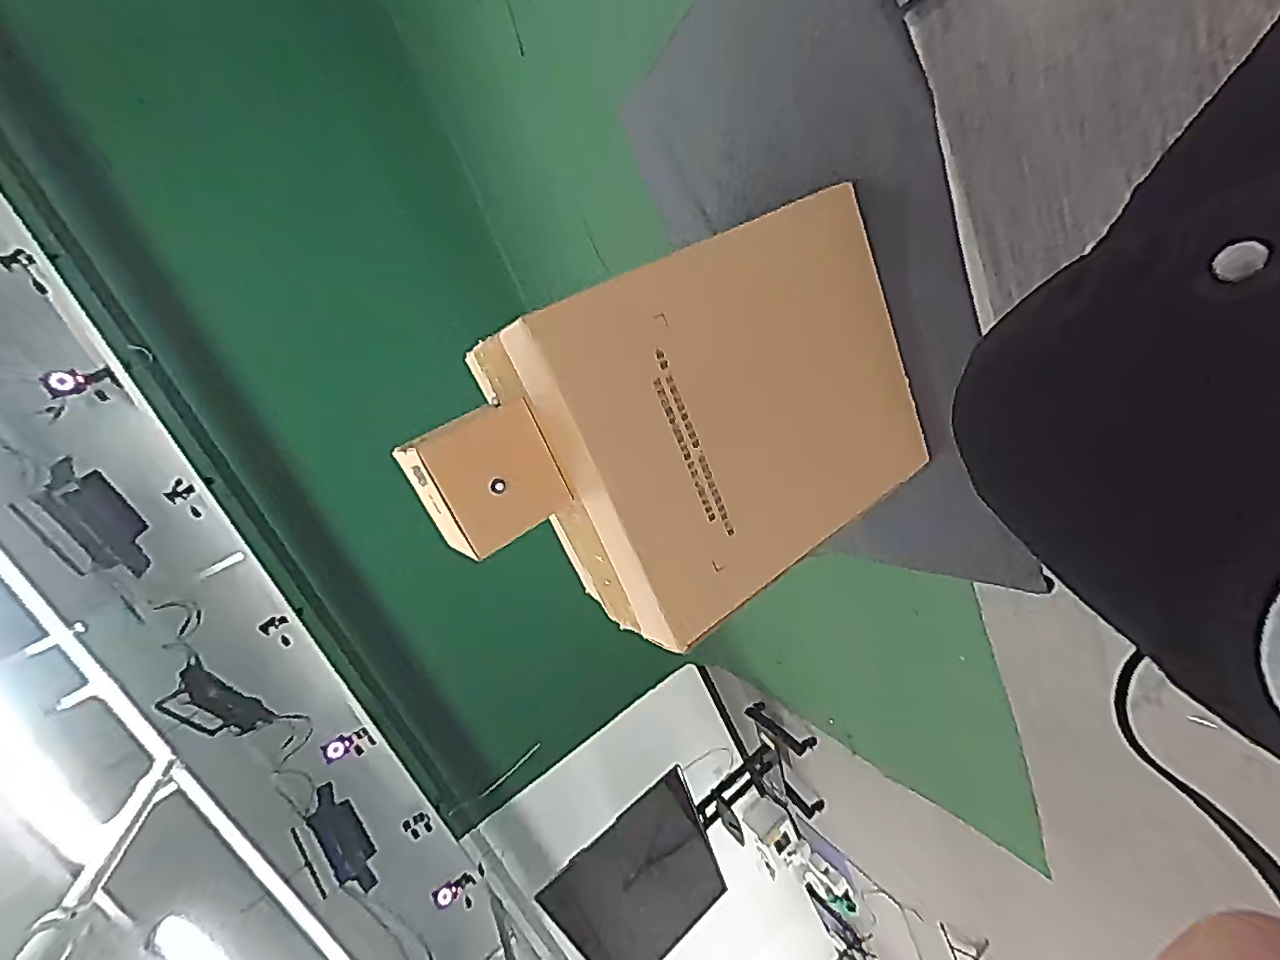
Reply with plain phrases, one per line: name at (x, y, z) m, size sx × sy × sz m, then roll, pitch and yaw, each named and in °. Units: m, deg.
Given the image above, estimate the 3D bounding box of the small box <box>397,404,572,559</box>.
small box at (-0.236, -0.007, 0.828) m, size 0.168 × 0.176 × 0.179 m, roll 4°, pitch 123°, yaw 56°
